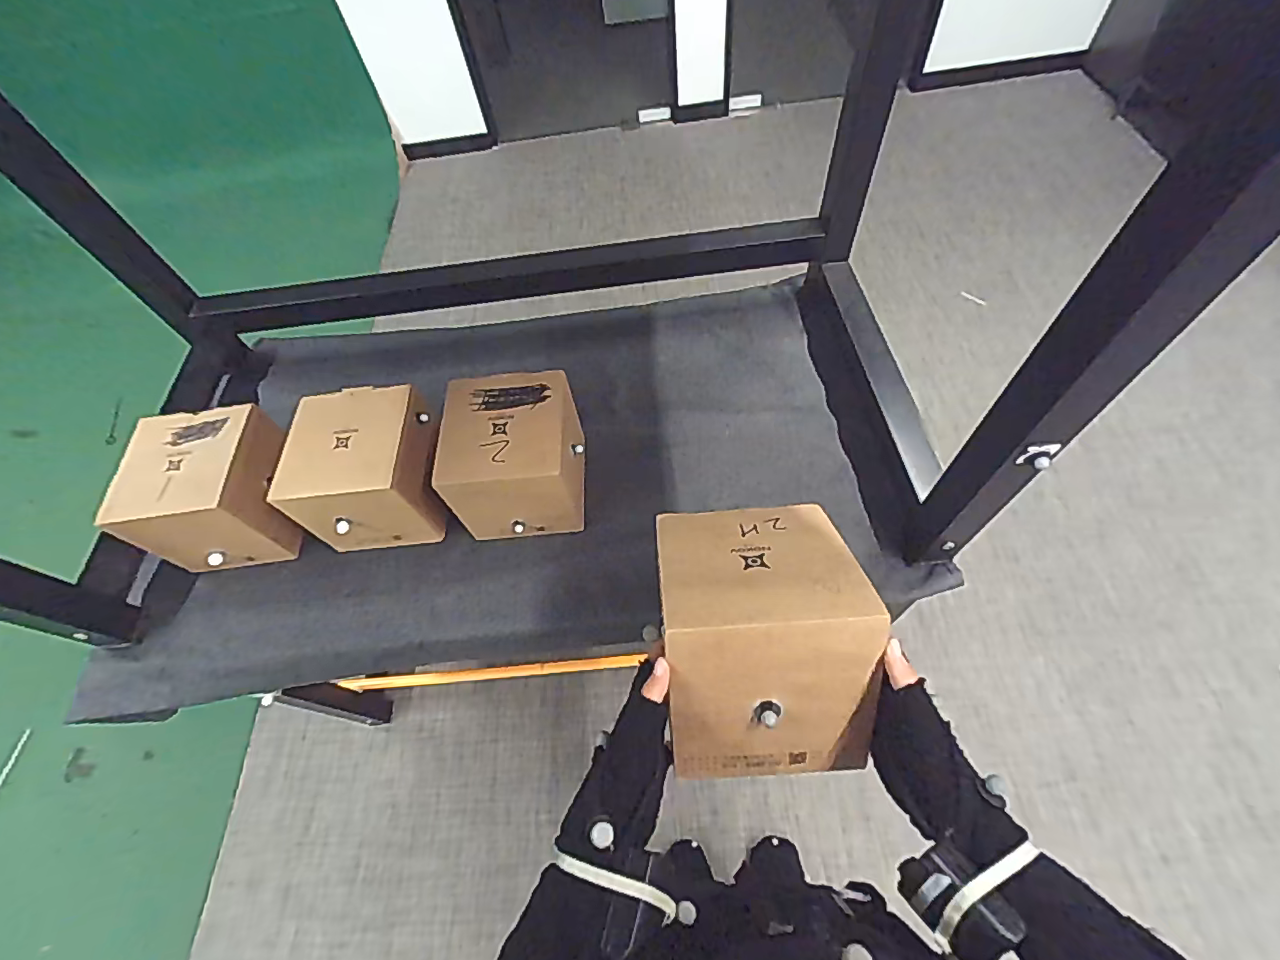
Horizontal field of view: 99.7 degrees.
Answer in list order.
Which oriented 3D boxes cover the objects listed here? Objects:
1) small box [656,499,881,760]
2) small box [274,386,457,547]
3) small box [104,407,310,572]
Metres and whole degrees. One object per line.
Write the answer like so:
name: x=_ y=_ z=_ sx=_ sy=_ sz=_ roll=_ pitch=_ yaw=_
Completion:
small box: x=0.103 y=0.136 z=0.502 sx=0.168 sy=0.176 sz=0.179 roll=-3 pitch=26 yaw=2
small box: x=-0.386 y=-0.011 z=0.800 sx=0.168 sy=0.176 sz=0.179 roll=-6 pitch=57 yaw=2
small box: x=-0.611 y=0.018 z=0.806 sx=0.168 sy=0.176 sz=0.179 roll=-9 pitch=58 yaw=2
